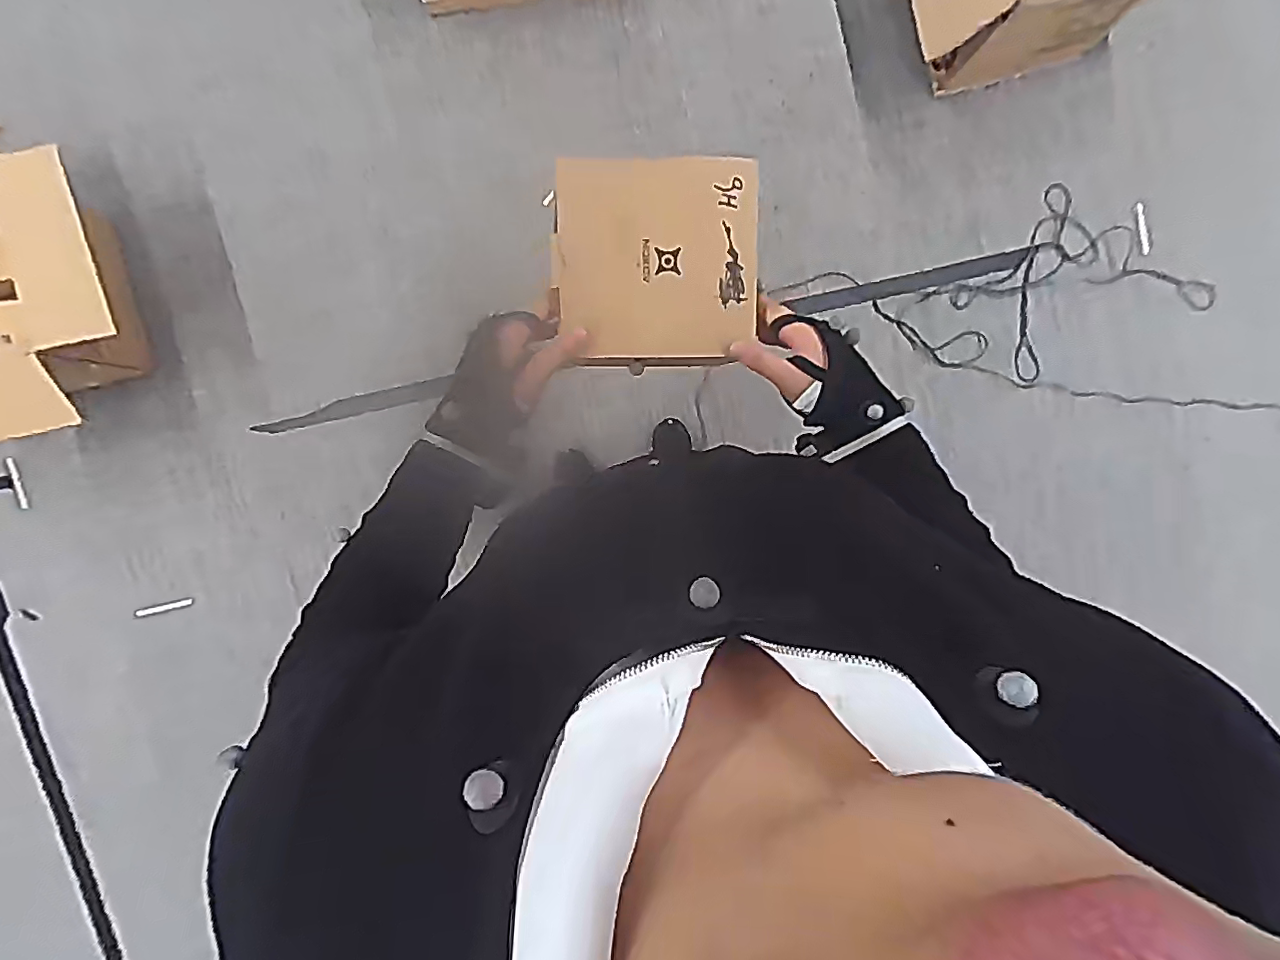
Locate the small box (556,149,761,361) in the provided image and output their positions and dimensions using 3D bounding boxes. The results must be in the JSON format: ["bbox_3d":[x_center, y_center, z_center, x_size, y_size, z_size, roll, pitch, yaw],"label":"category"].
[{"bbox_3d":[0.014,-0.210,0.548,0.179,0.176,0.168,-1,99,-2],"label":"small box"}]
